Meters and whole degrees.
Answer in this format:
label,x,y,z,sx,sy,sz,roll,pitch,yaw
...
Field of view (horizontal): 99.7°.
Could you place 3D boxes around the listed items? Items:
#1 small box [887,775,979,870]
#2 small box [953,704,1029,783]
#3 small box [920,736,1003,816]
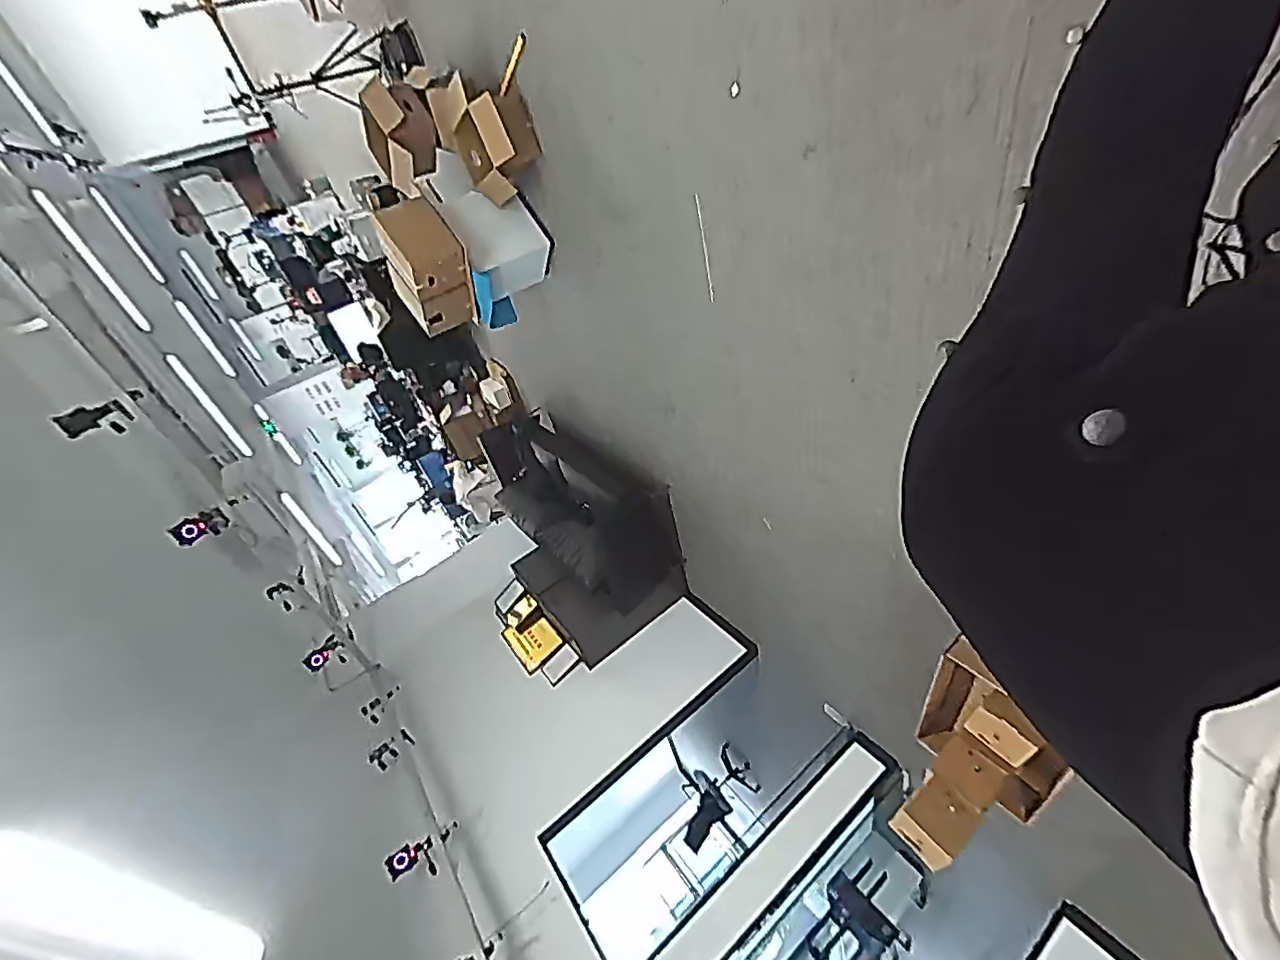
label,x,y,z,sx,sy,sz,roll,pitch,yaw
small box,0.909,1.060,1.678,0.168,0.176,0.179,40,150,35
small box,1.159,0.895,1.809,0.168,0.176,0.179,34,147,42
small box,1.033,0.974,1.743,0.168,0.176,0.179,34,147,43
